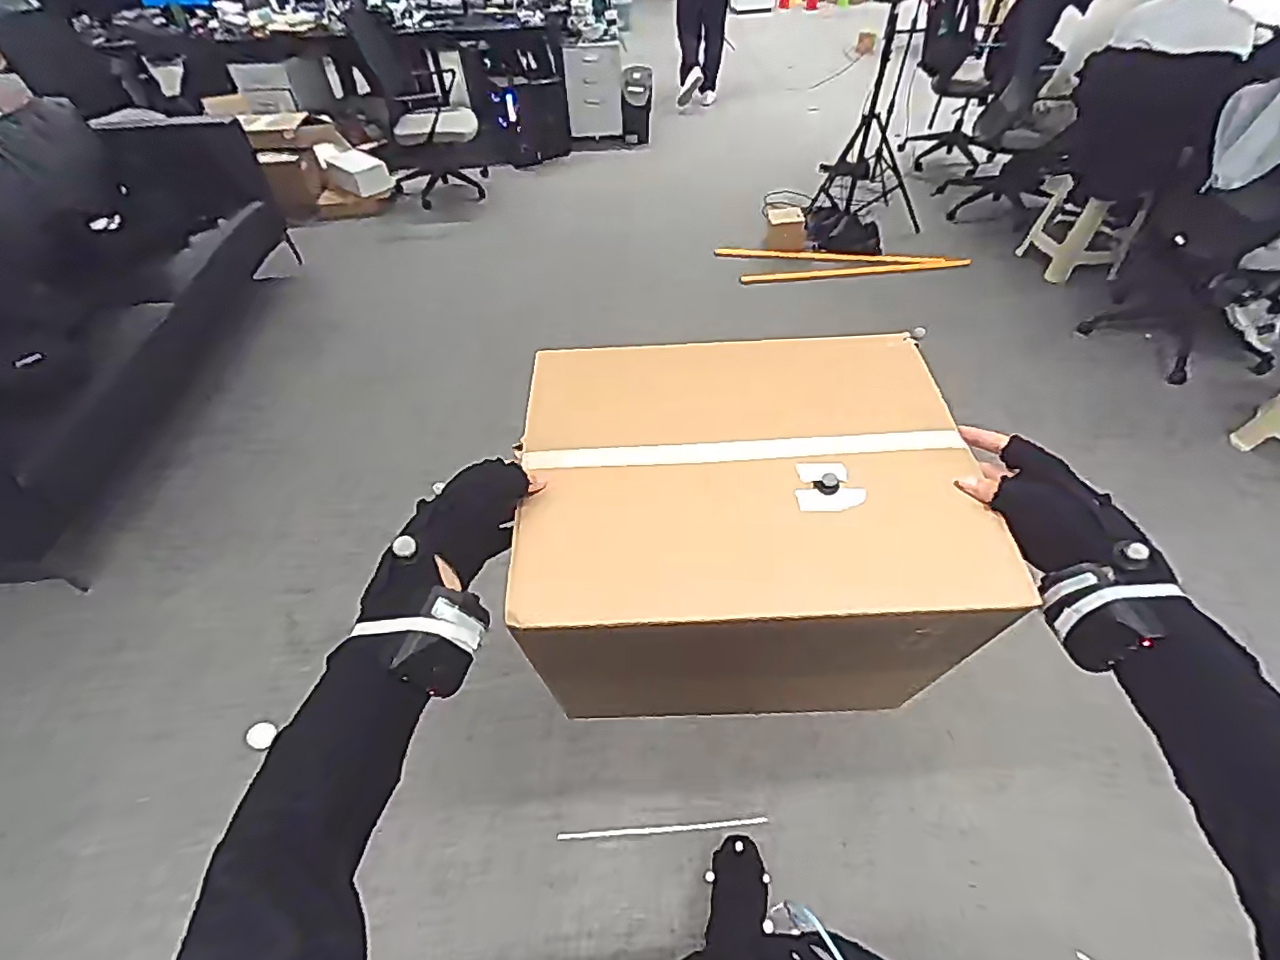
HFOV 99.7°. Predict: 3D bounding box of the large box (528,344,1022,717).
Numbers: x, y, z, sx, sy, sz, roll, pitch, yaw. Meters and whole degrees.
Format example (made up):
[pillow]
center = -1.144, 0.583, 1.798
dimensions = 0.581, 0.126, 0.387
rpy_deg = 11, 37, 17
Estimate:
[large box]
center = 0.103, 0.069, 0.632
dimensions = 0.408, 0.320, 0.320
rpy_deg = -3, 54, 0
